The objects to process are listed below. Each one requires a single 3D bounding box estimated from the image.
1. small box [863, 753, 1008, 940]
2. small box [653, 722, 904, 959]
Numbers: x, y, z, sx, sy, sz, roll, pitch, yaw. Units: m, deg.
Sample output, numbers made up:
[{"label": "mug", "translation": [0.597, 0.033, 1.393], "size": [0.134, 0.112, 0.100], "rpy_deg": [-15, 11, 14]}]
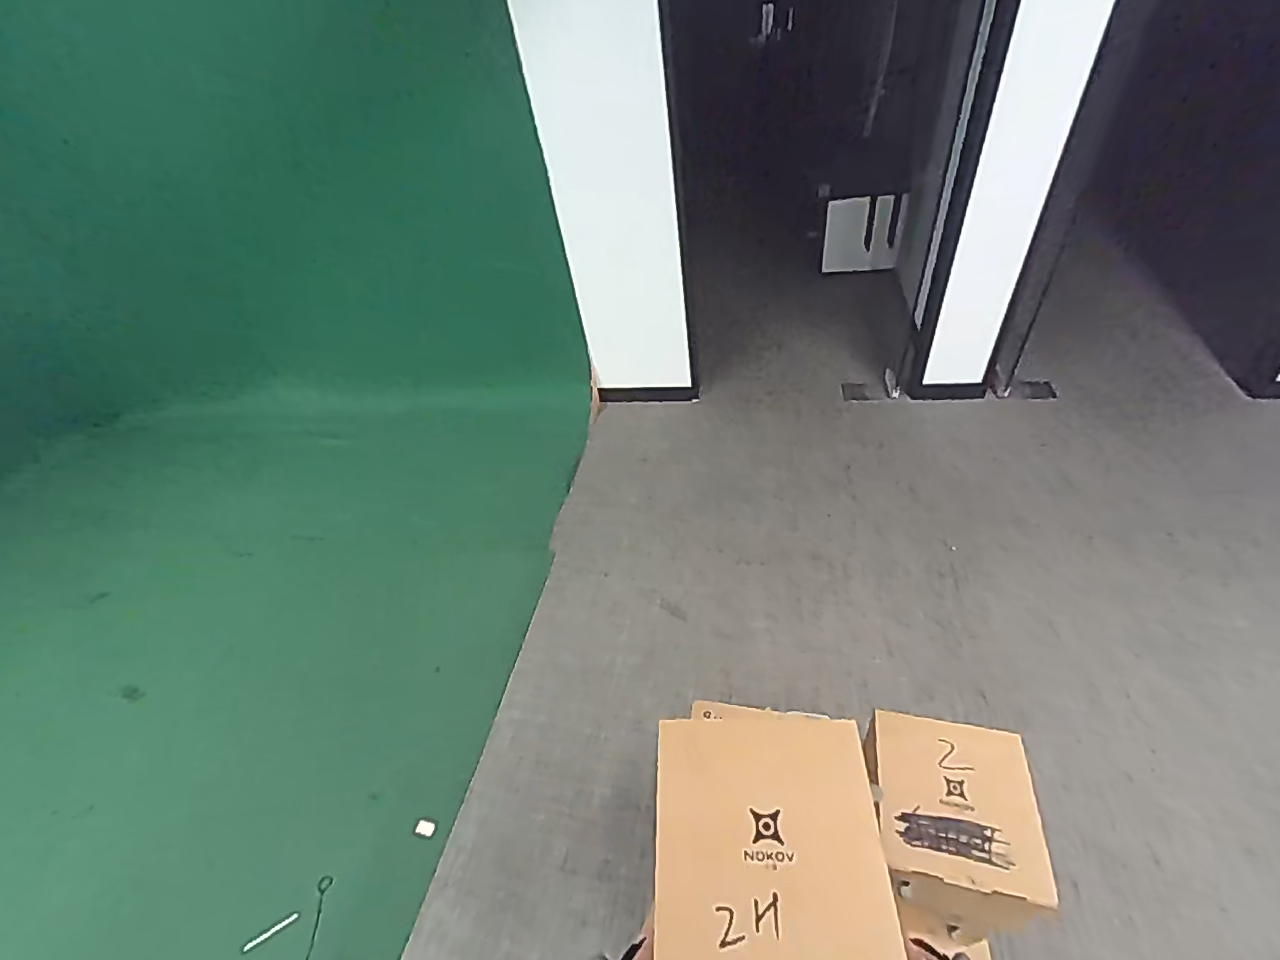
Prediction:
[{"label": "small box", "translation": [0.402, 0.530, 0.783], "size": [0.168, 0.176, 0.179], "rpy_deg": [4, 45, 17]}, {"label": "small box", "translation": [0.103, 0.322, 0.455], "size": [0.168, 0.176, 0.179], "rpy_deg": [-4, 49, 8]}]
